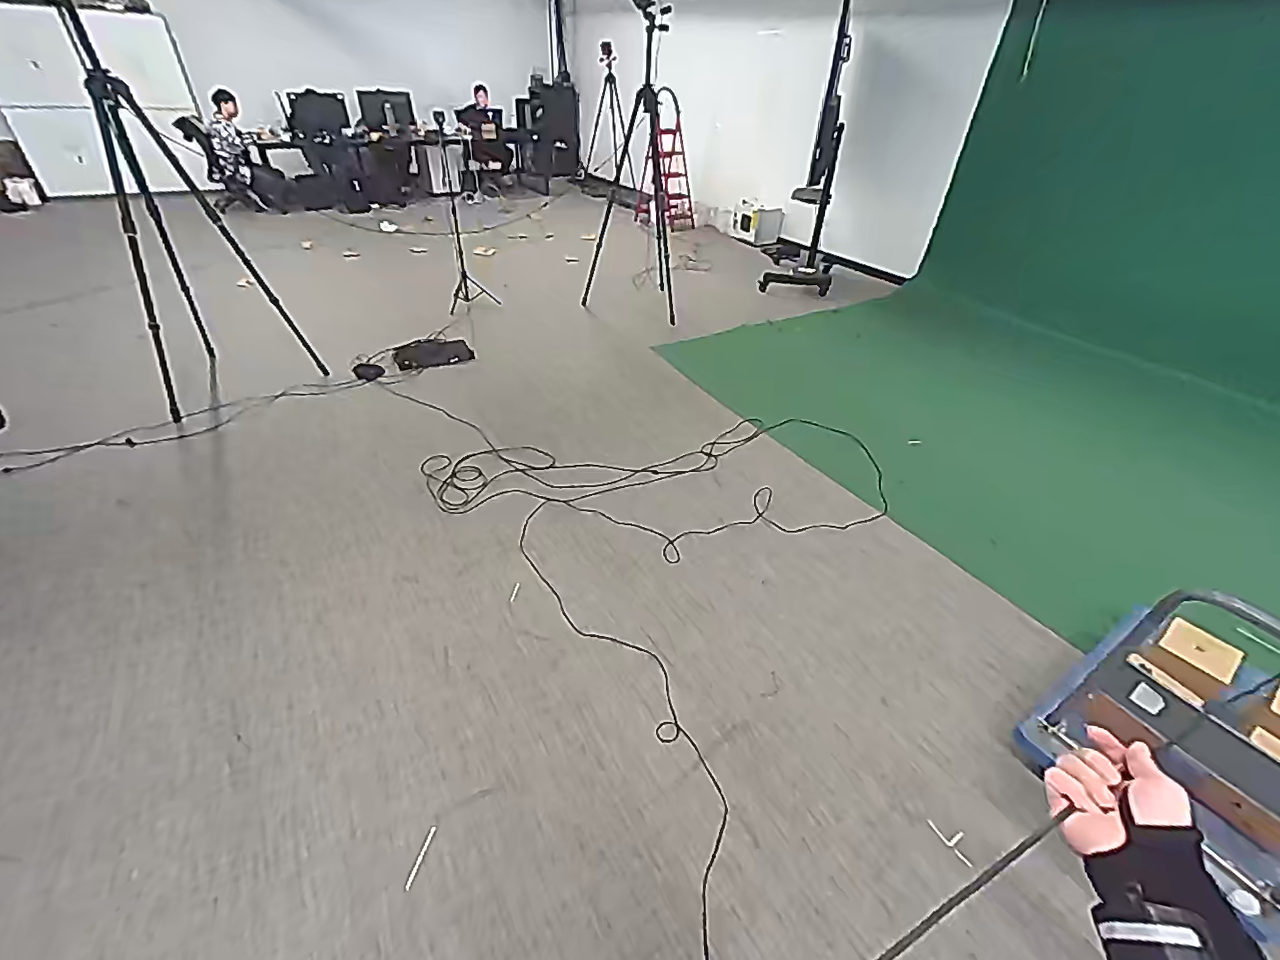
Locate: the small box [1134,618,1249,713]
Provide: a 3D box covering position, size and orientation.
[{"bbox_3d":[1.641,0.558,1.619,0.179,0.176,0.168,-23,45,-29],"label":"small box"}]

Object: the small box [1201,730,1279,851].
[{"bbox_3d":[1.568,0.768,1.342,0.179,0.176,0.168,-21,43,-25],"label":"small box"}]

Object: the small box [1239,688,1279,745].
[{"bbox_3d":[1.794,0.682,1.462,0.179,0.176,0.168,-24,44,-29],"label":"small box"}]
